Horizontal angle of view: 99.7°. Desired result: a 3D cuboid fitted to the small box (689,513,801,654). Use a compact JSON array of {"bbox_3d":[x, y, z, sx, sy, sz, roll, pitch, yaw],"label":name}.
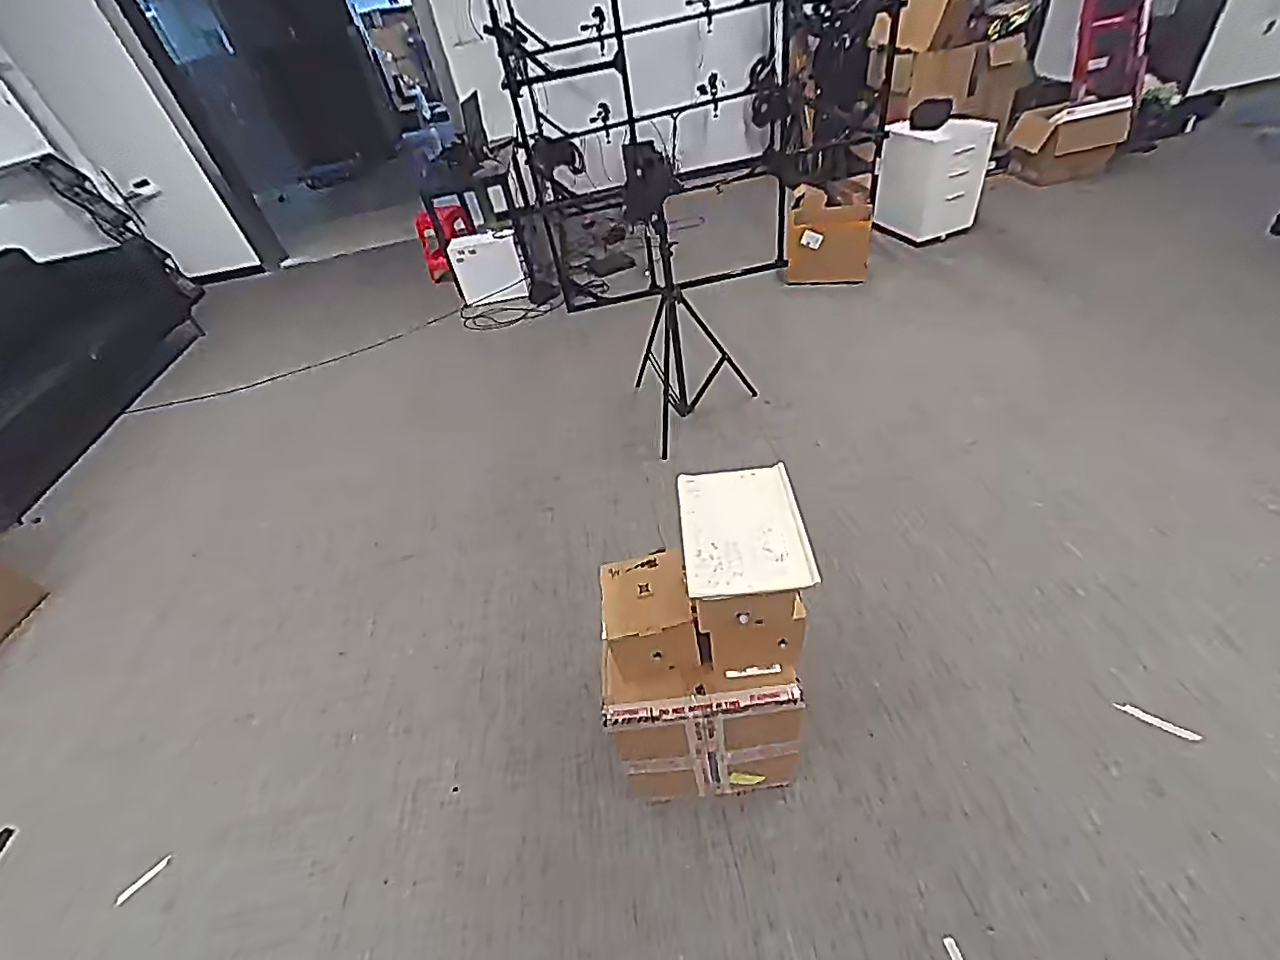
[{"bbox_3d":[0.173,0.182,0.948,0.168,0.176,0.179,-5,44,4],"label":"small box"}]
